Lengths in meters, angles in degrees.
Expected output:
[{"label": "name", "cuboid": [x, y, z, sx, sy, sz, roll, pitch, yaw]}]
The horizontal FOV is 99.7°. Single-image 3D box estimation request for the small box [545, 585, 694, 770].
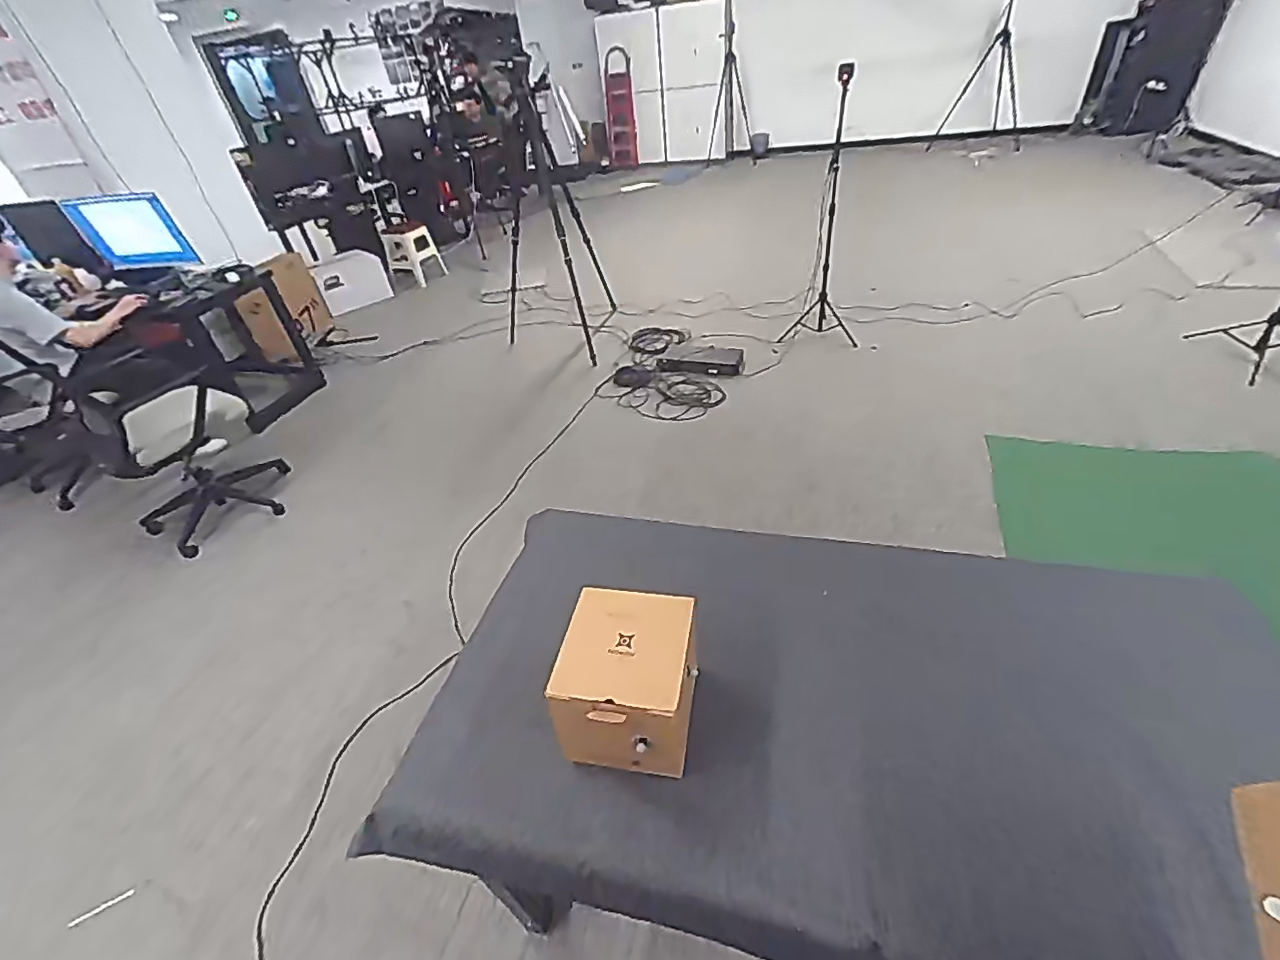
[{"label": "small box", "cuboid": [-0.015, 0.274, 0.756, 0.168, 0.176, 0.179, 4, 38, 11]}]
